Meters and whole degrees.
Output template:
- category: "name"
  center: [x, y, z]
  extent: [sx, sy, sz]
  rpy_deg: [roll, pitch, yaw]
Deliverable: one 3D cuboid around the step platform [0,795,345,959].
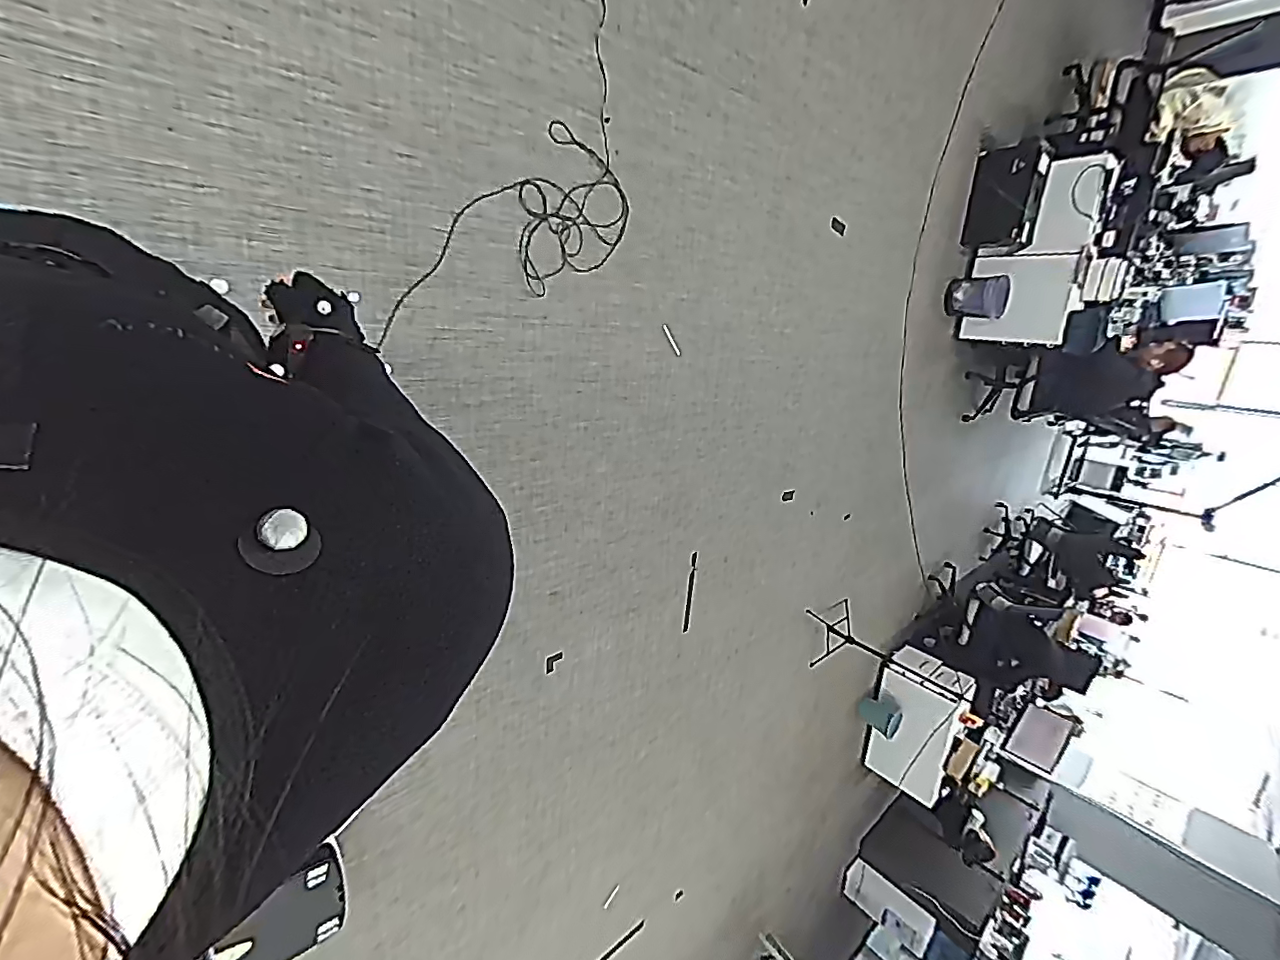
- category: "step platform"
  center: [-1.106, 1.094, 1.312]
  extent: [0.684, 0.204, 0.286]
  rpy_deg: [-12, 113, -39]
